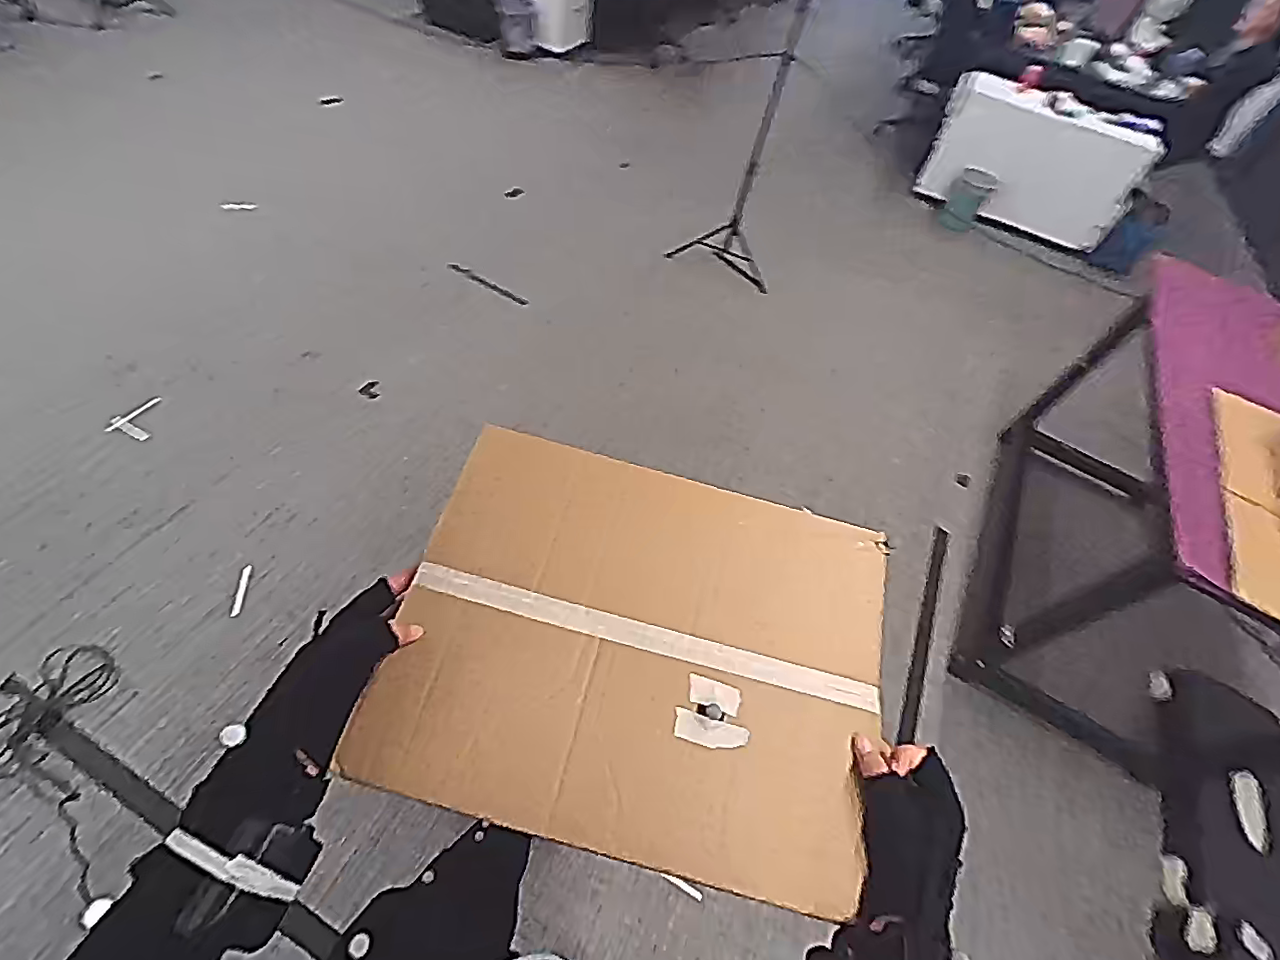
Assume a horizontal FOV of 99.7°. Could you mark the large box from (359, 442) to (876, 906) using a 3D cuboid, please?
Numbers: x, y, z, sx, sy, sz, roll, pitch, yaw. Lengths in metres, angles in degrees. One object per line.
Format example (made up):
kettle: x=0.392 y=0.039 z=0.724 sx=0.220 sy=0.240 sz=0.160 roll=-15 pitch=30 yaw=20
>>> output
large box: x=-0.008 y=0.206 z=0.607 sx=0.408 sy=0.320 sz=0.320 roll=16 pitch=64 yaw=1
